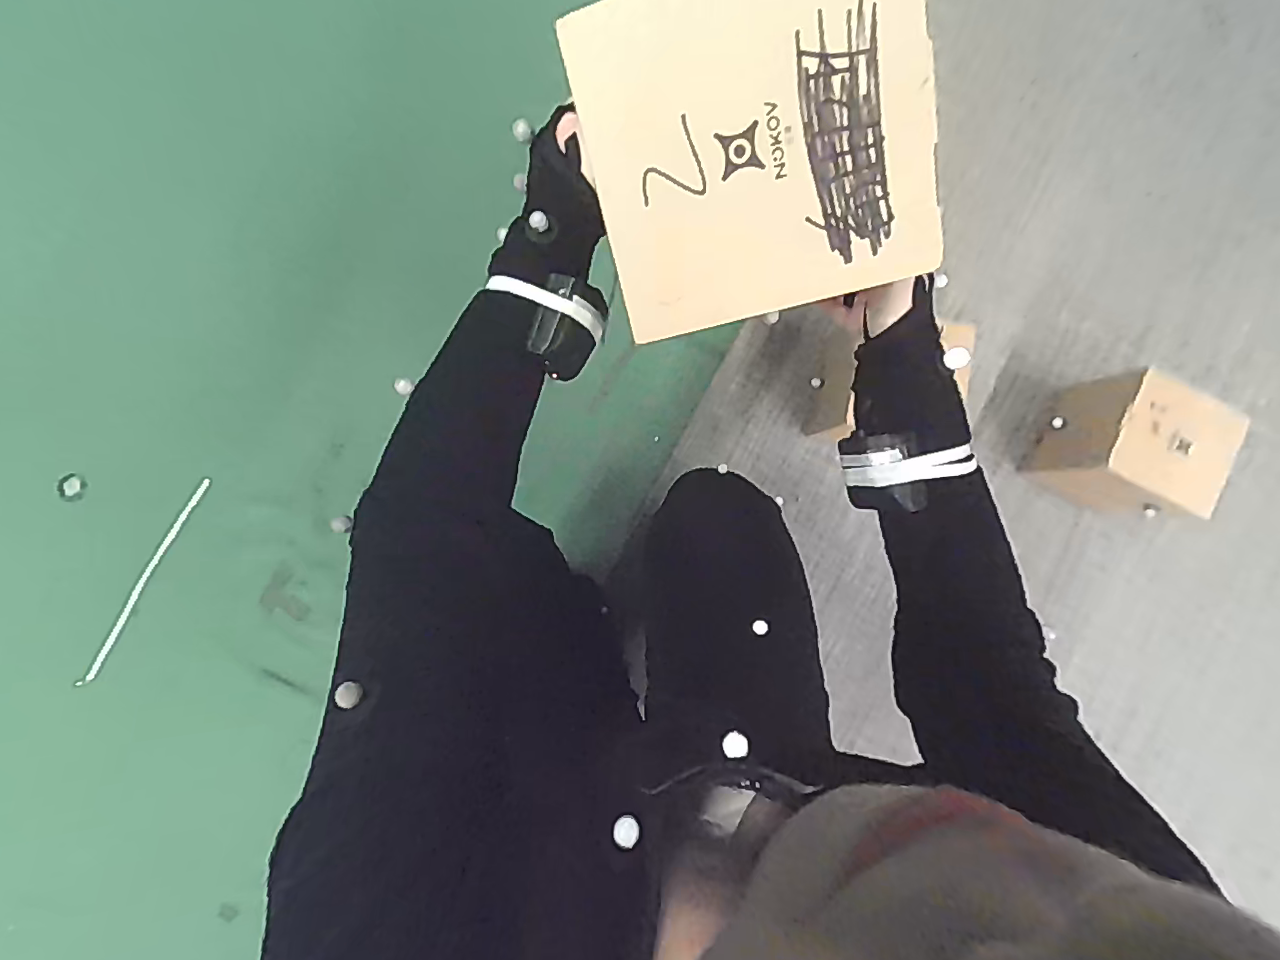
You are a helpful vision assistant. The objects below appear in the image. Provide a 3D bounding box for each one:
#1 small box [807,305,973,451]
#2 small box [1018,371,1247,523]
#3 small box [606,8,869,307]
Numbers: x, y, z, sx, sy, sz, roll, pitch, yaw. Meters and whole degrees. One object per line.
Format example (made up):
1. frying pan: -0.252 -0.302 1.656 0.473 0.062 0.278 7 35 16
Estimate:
1. small box: 0.375 -0.146 0.844 0.168 0.176 0.179 12 88 -2
2. small box: 0.761 -0.047 0.855 0.179 0.176 0.168 27 87 -1
3. small box: 0.087 -0.268 0.496 0.179 0.176 0.168 -15 109 12
